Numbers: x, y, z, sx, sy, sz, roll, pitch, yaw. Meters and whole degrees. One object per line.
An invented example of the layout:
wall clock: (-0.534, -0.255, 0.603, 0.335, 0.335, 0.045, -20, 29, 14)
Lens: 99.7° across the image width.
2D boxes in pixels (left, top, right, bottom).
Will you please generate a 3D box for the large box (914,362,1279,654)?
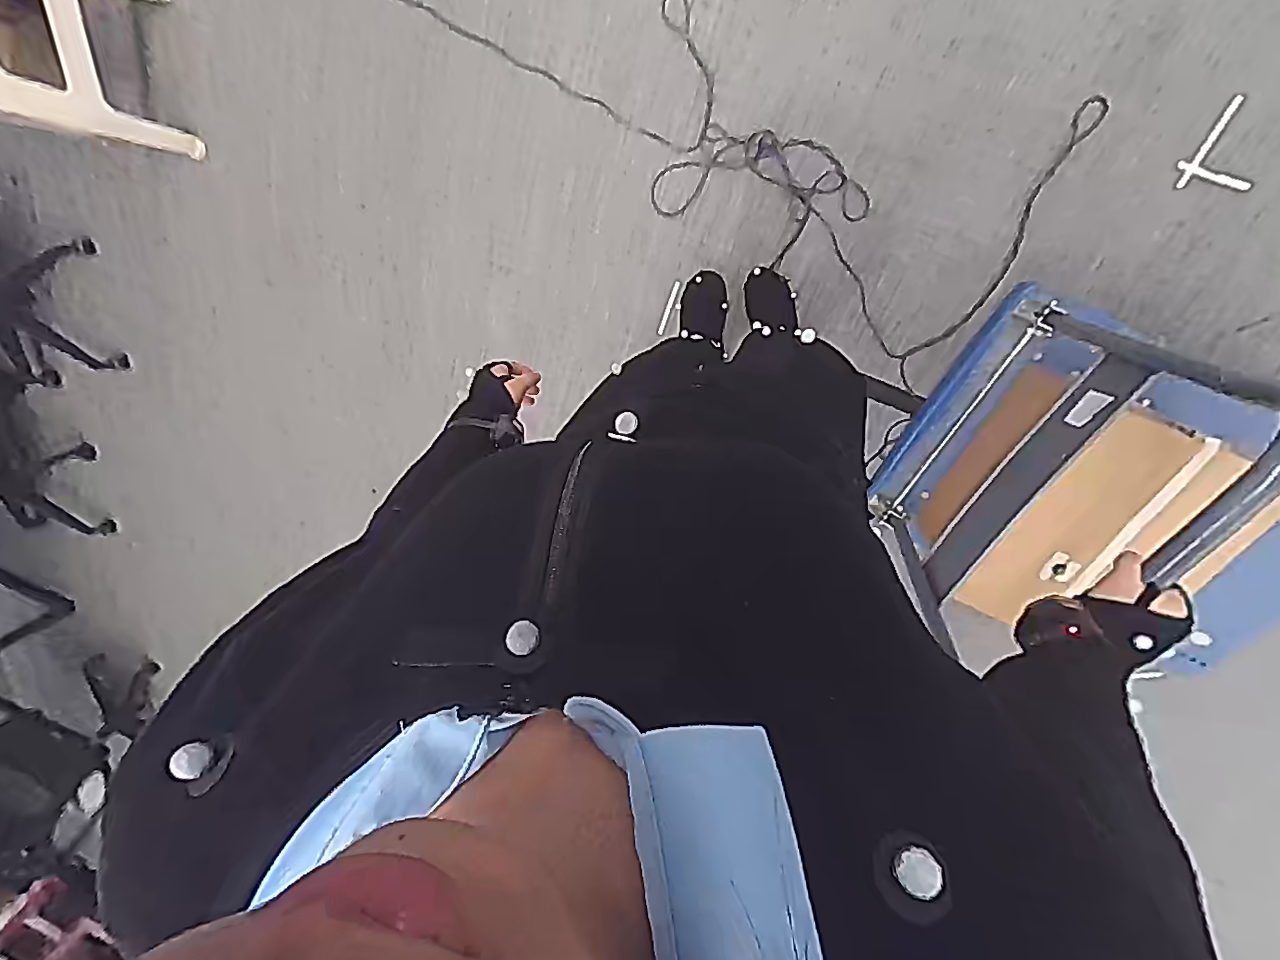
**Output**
large box: (0.807, 0.039, 1.042, 0.320, 0.320, 0.408, 24, 119, 4)
